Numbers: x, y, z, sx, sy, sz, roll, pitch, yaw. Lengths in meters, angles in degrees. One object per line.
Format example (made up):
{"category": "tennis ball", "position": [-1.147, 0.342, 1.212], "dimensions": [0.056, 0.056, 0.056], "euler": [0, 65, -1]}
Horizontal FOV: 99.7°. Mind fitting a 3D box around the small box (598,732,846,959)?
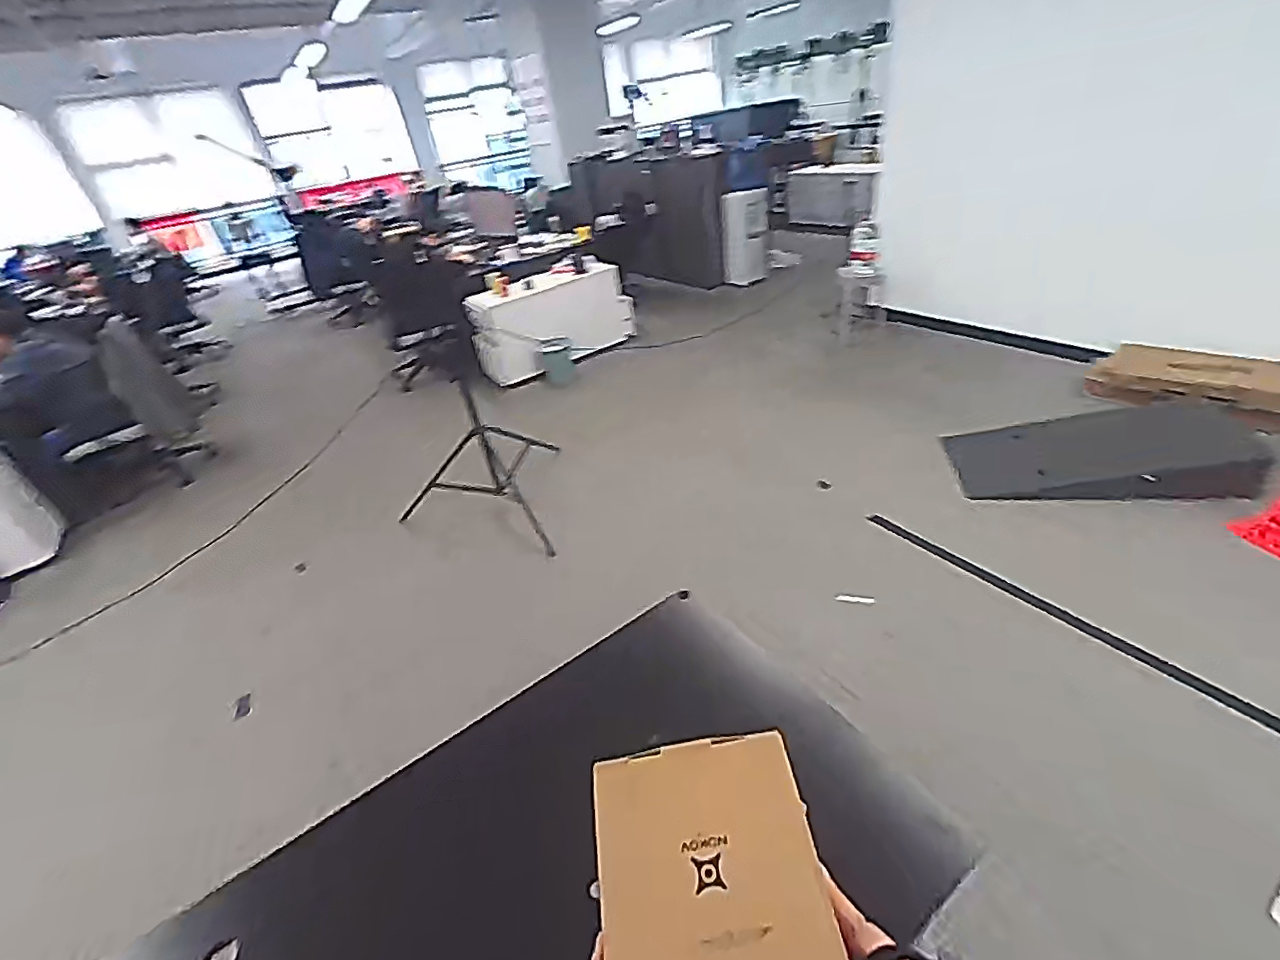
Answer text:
{"category": "small box", "position": [0.061, 0.346, 0.462], "dimensions": [0.168, 0.176, 0.179], "euler": [-10, 45, 1]}
